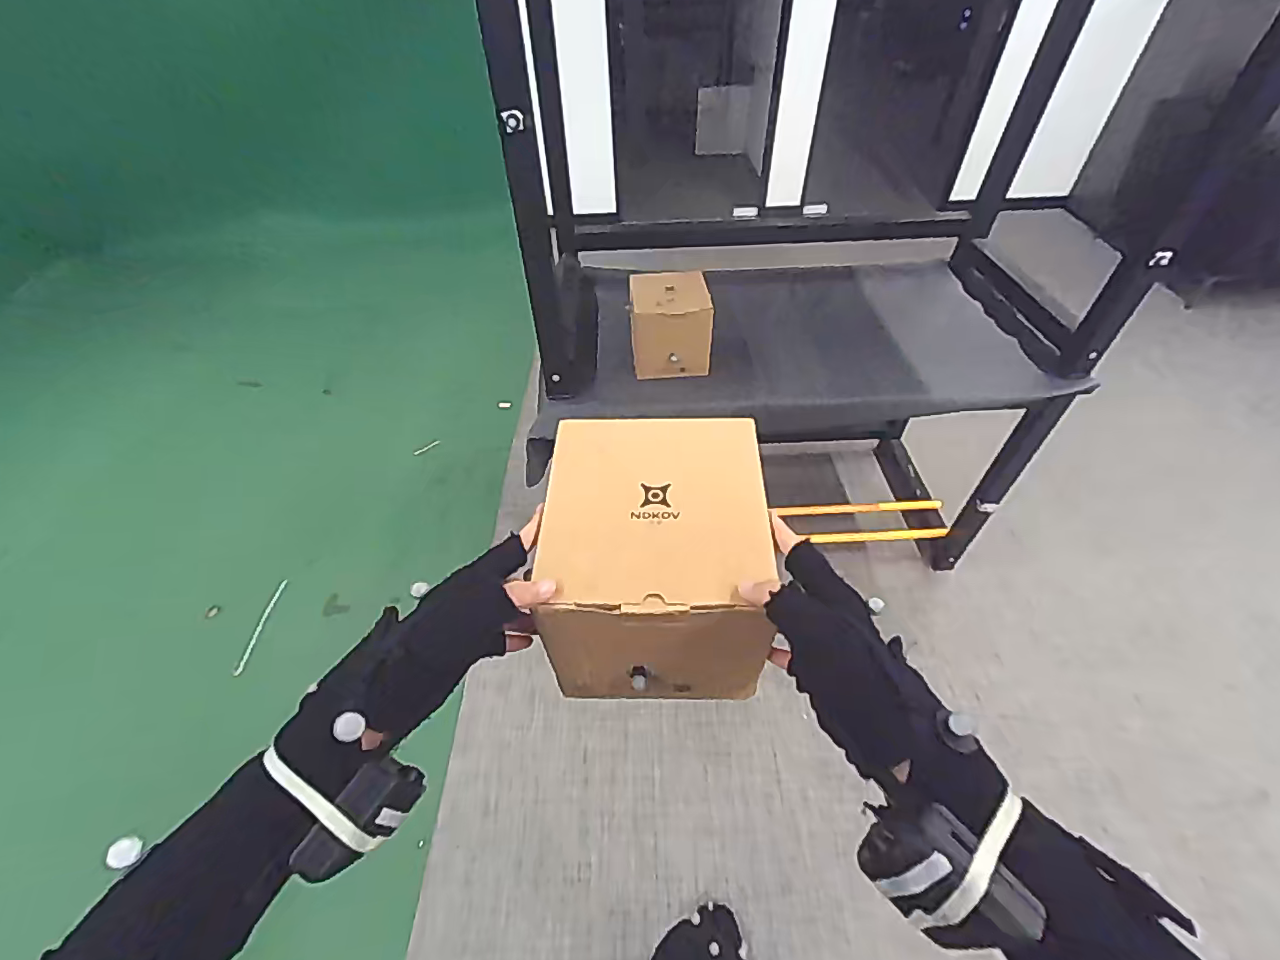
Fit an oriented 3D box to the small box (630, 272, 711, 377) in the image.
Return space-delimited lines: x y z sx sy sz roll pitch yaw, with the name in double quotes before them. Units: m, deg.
"small box" 0.063 -0.354 1.234 0.168 0.176 0.179 -4 47 -2
